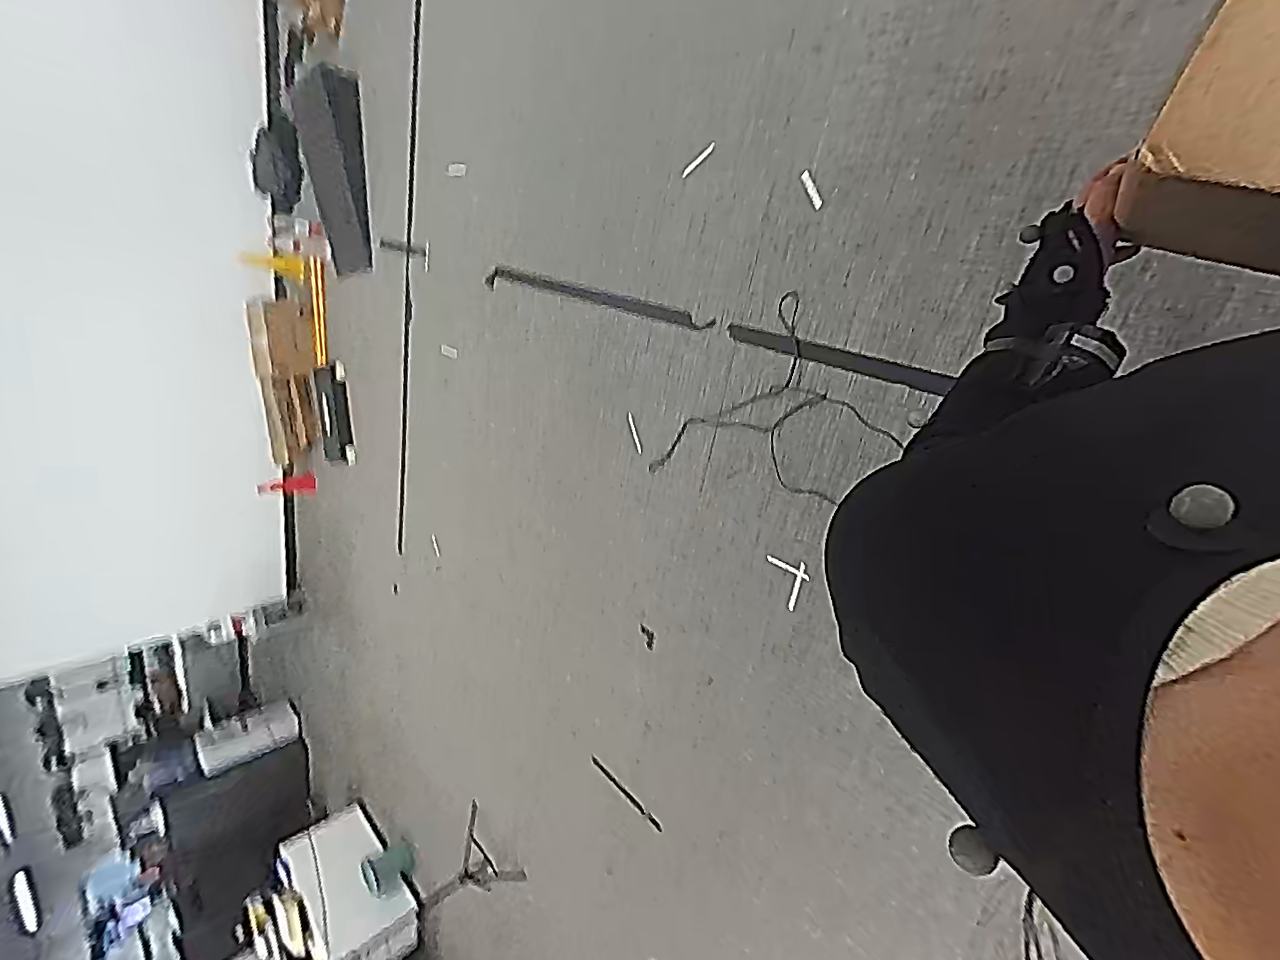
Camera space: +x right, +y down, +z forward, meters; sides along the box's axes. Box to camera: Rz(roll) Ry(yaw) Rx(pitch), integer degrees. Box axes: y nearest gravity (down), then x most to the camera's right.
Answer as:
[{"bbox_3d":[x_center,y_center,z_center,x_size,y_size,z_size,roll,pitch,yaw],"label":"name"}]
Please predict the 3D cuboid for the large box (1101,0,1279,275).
[{"bbox_3d":[0.498,-0.228,0.206,0.408,0.320,0.320,29,121,28],"label":"large box"}]
